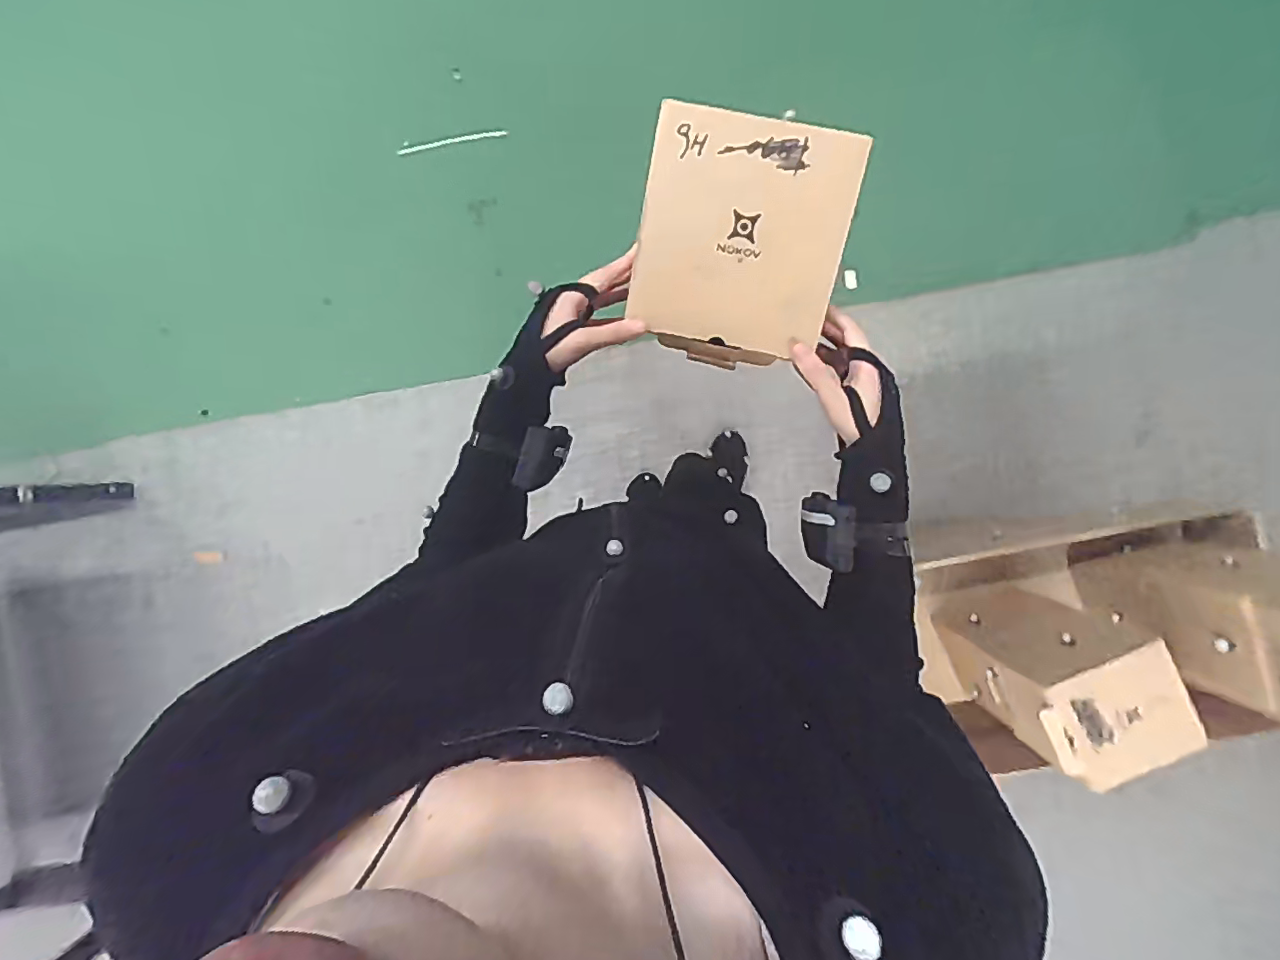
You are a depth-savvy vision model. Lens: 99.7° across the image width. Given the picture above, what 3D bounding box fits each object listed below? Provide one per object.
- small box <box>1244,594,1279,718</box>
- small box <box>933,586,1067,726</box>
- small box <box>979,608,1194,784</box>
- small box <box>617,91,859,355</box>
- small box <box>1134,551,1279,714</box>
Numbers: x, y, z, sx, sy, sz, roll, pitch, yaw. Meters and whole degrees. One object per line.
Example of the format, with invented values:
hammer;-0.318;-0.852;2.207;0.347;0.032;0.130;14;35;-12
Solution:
small box;0.923;0.228;0.658;0.179;0.176;0.168;-13;89;4
small box;0.679;0.316;1.003;0.179;0.176;0.168;-24;91;3
small box;0.669;0.322;0.840;0.179;0.176;0.168;-24;91;2
small box;0.082;-0.230;0.518;0.168;0.176;0.179;11;109;2
small box;0.921;0.221;0.824;0.168;0.176;0.179;-15;89;3
